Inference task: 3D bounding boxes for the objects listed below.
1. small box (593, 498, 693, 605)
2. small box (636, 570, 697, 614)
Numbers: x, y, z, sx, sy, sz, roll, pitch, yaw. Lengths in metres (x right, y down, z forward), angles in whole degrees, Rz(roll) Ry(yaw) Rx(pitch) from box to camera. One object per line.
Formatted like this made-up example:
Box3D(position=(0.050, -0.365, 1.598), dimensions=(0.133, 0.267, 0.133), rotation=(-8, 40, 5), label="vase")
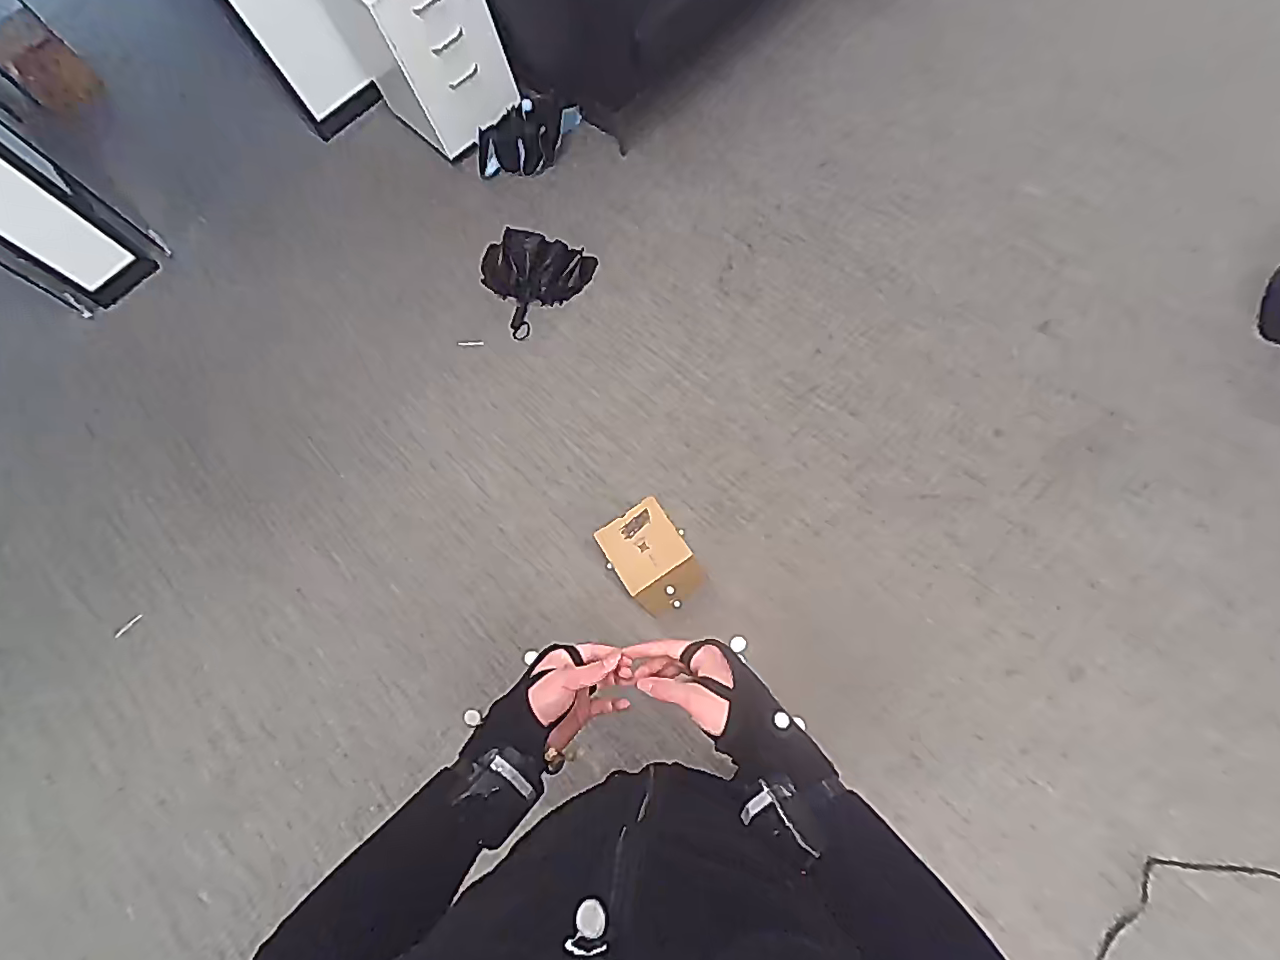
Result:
Box3D(position=(0.012, 0.177, 1.293), dimensions=(0.168, 0.176, 0.179), rotation=(-33, 67, -3), label="small box")
Box3D(position=(0.037, 0.238, 1.445), dimensions=(0.168, 0.176, 0.179), rotation=(-34, 68, -3), label="small box")
